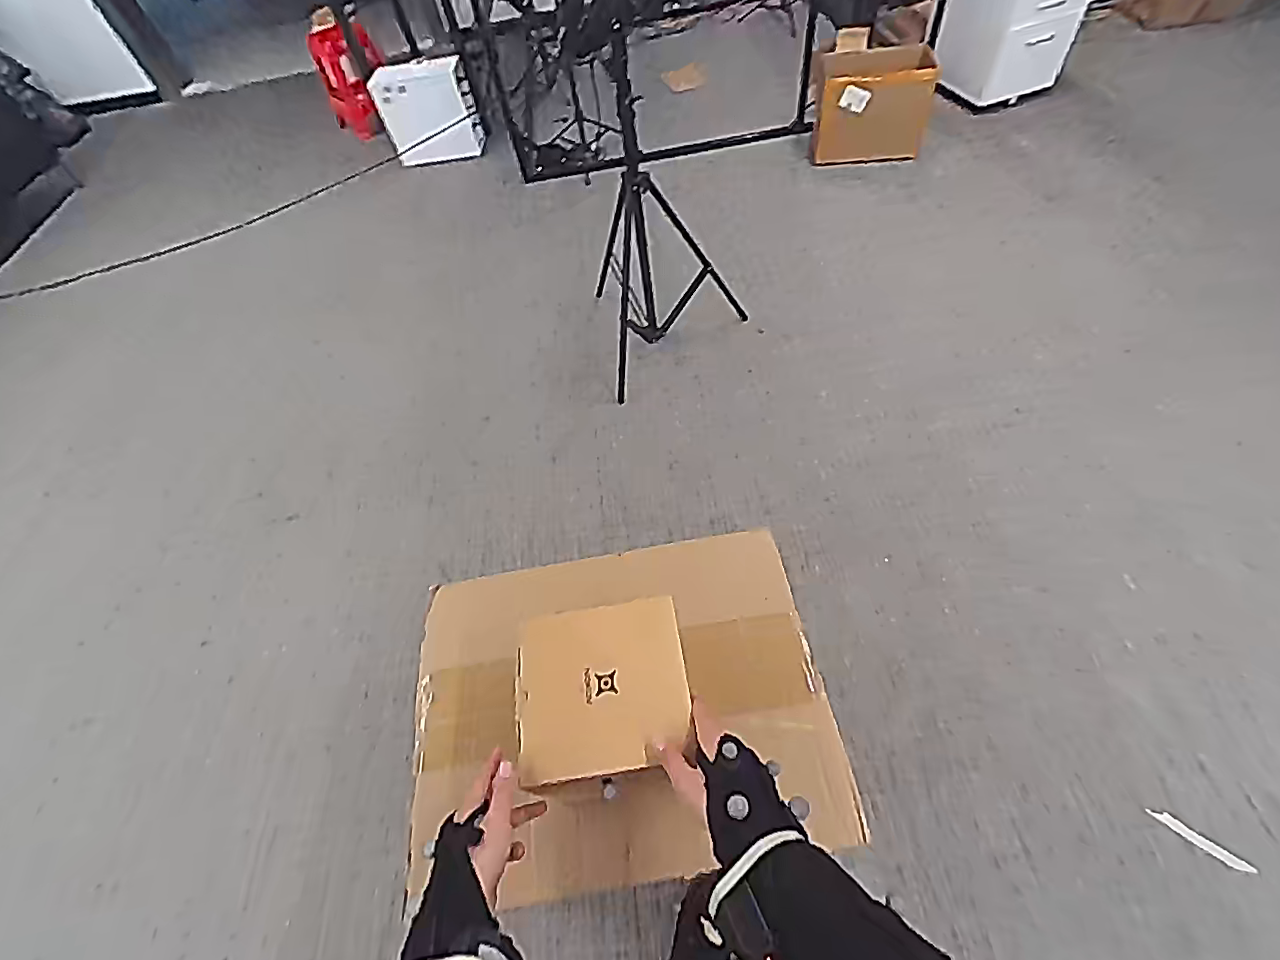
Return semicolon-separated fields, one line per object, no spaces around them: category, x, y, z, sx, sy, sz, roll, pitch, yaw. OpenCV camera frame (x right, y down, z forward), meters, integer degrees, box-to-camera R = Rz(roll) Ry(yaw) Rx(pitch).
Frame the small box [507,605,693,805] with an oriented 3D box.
small box;-0.036;0.258;0.608;0.179;0.176;0.168;-10;54;3
